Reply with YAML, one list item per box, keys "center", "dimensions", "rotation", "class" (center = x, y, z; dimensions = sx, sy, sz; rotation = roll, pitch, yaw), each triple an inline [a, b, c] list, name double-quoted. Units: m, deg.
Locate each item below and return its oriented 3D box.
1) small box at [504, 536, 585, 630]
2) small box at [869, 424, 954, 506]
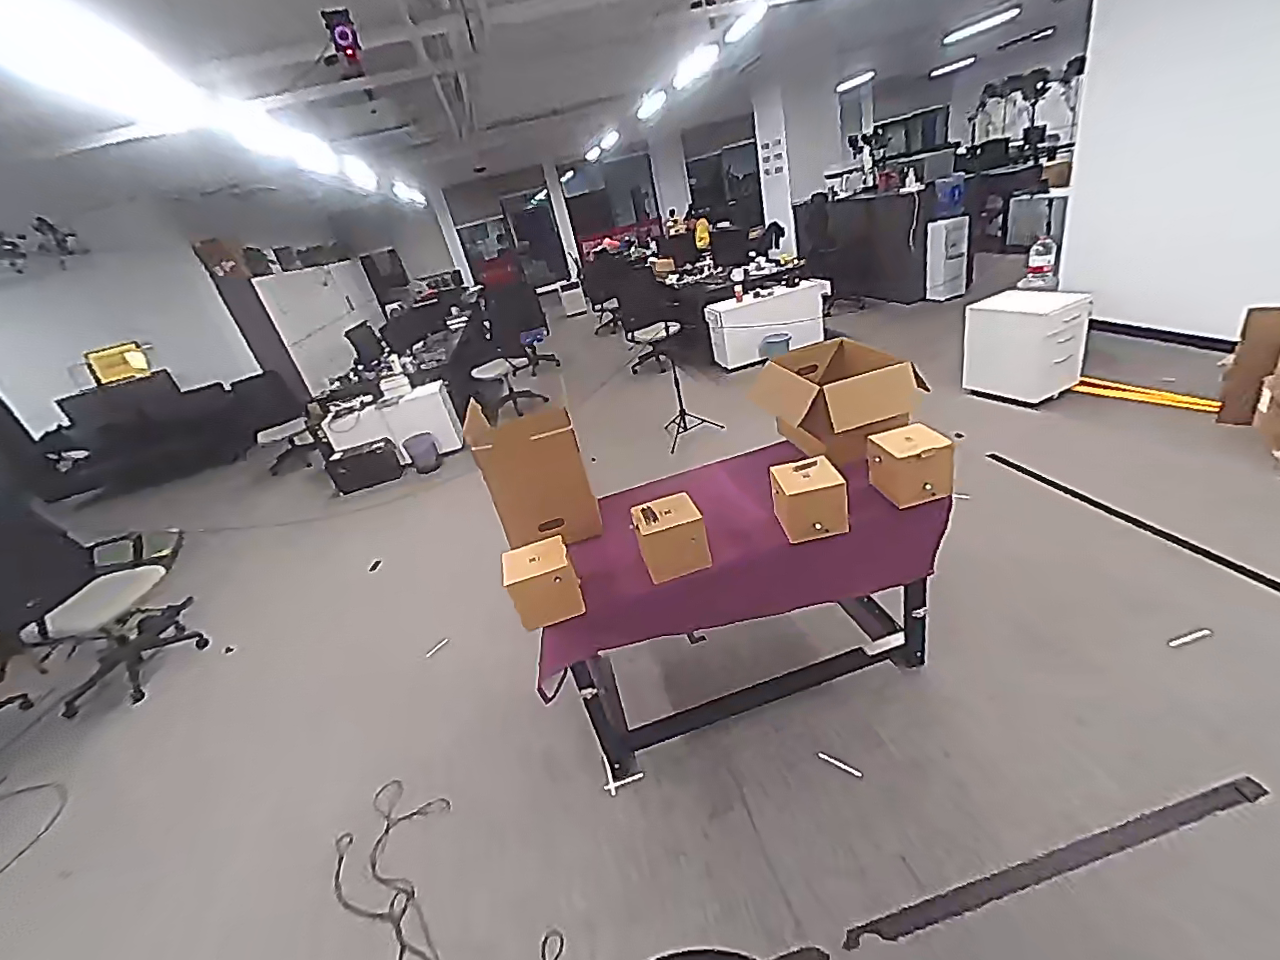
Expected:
- center: [-0.265, 0.287, 1.499]
  dimensions: [0.179, 0.176, 0.168]
  rotation: [-17, 27, -8]
  class: "small box"
- center: [0.799, -0.044, 1.602]
  dimensions: [0.168, 0.176, 0.179]
  rotation: [-16, 26, 0]
  class: "small box"
